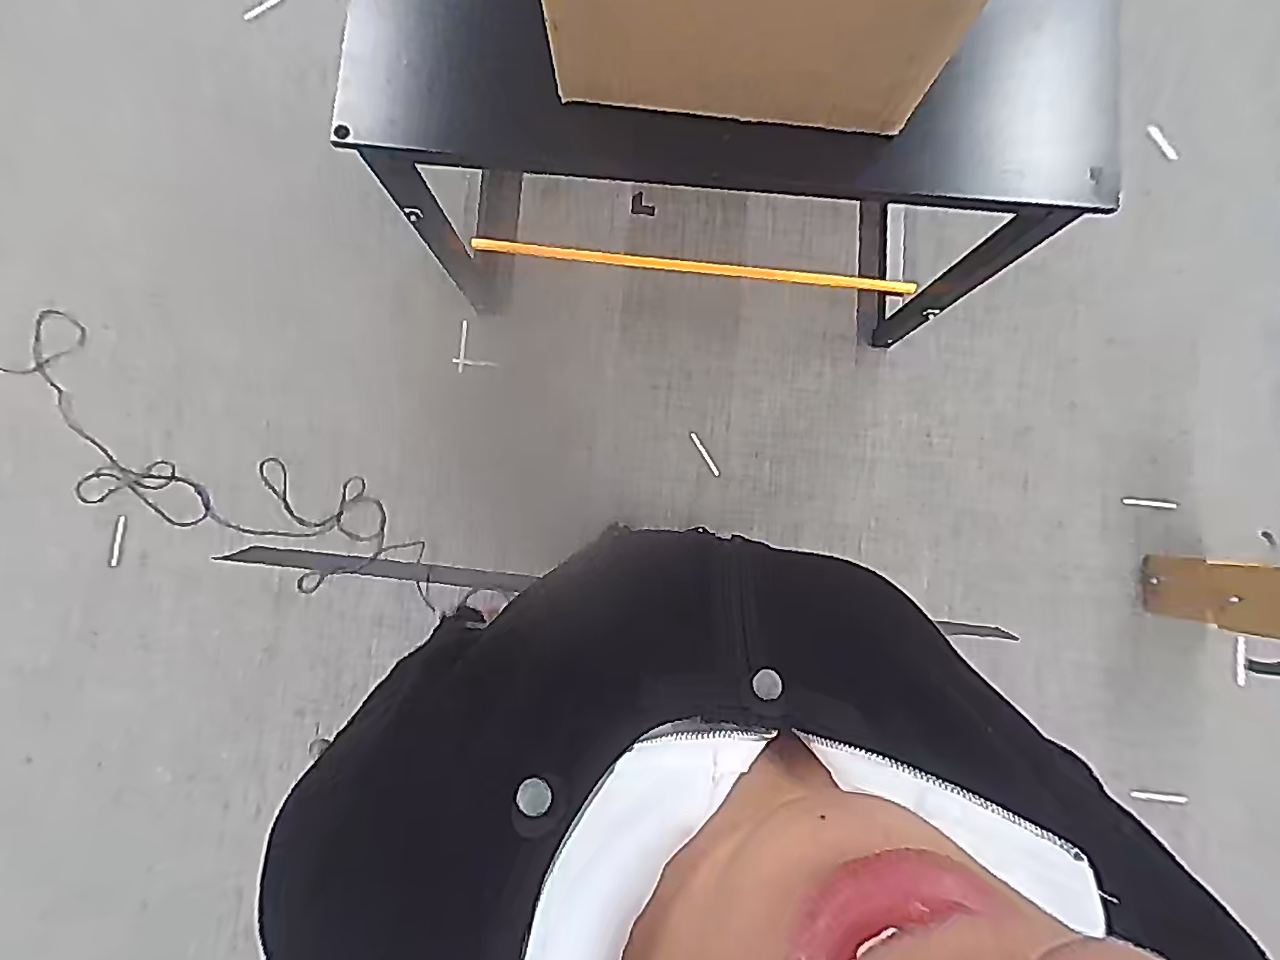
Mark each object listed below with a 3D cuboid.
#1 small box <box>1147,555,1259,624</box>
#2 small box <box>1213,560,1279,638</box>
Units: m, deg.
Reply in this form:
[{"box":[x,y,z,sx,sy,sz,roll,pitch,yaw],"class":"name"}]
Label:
[{"box":[1.506,0.286,1.432,0.179,0.176,0.168,2,85,1],"class":"small box"},{"box":[1.521,0.276,1.267,0.179,0.176,0.168,-3,84,-1],"class":"small box"}]
